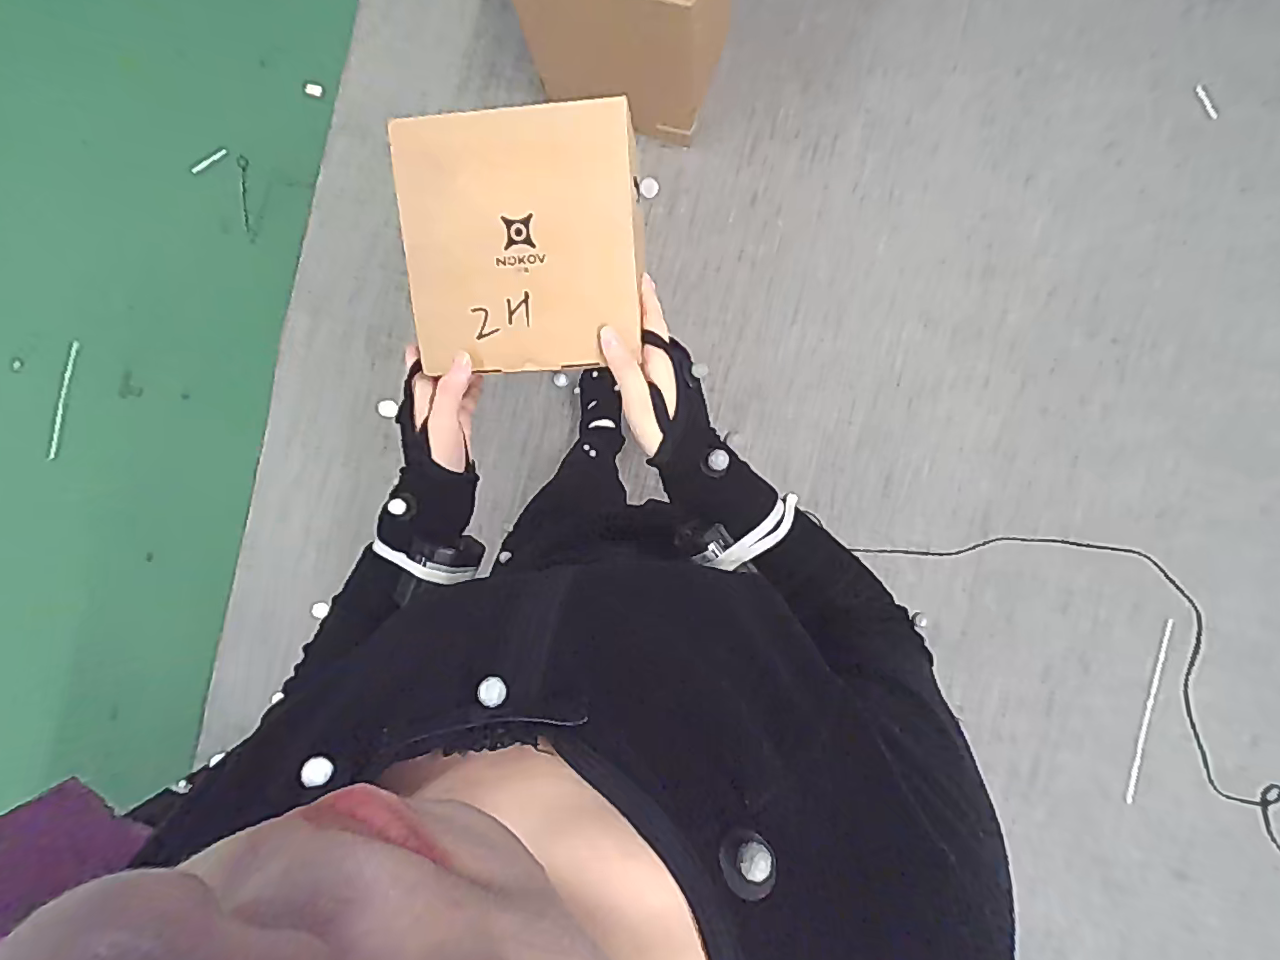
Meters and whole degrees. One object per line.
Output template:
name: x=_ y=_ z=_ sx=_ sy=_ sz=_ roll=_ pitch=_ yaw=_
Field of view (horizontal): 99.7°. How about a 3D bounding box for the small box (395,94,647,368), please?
small box: x=-0.081 y=-0.189 z=0.463 sx=0.168 sy=0.176 sz=0.179 roll=-2 pitch=102 yaw=5
